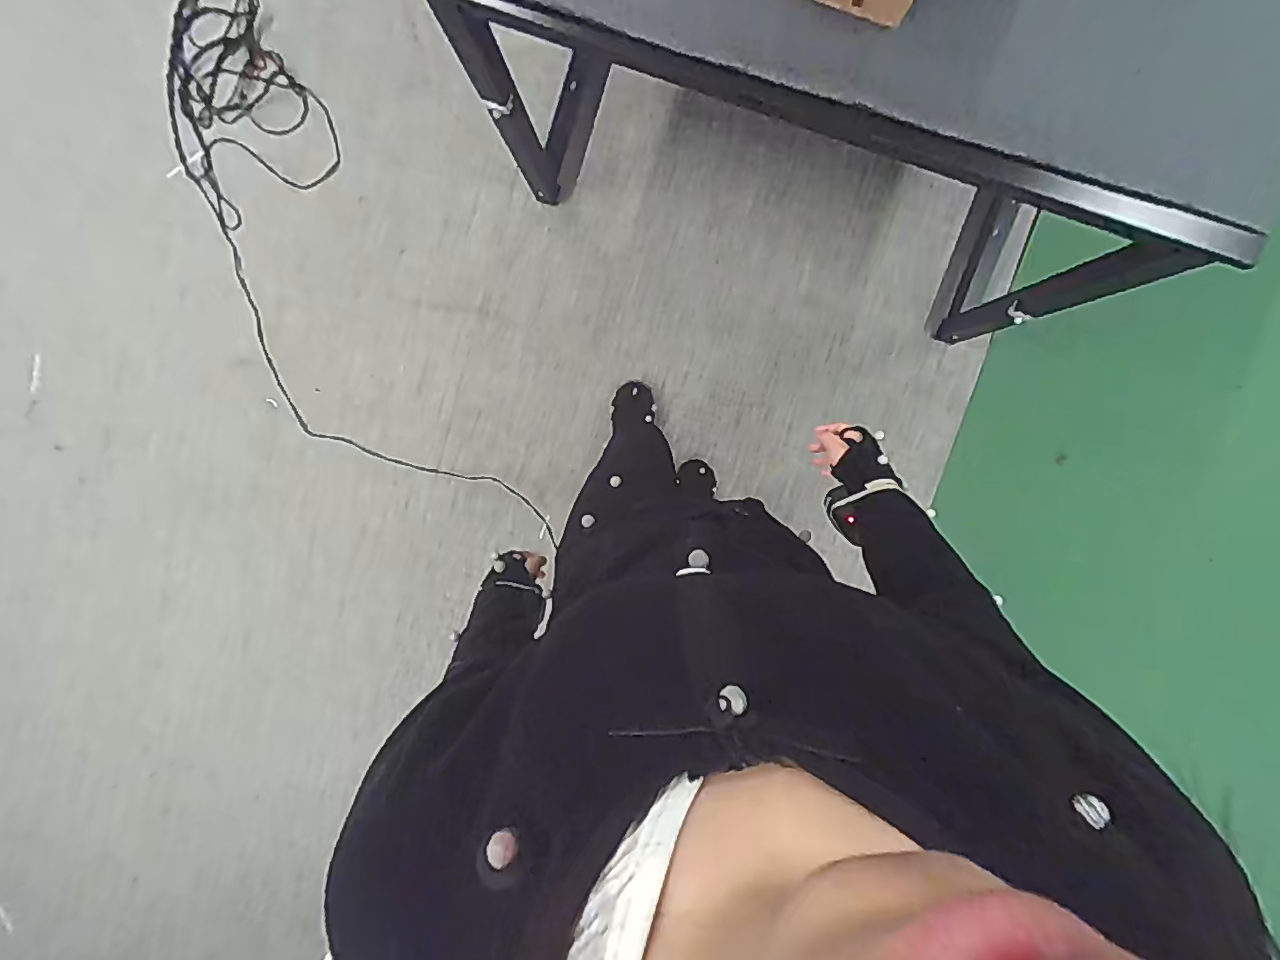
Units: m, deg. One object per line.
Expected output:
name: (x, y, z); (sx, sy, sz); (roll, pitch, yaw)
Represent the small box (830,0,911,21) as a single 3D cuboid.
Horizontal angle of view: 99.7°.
small box: (0.280, -0.683, 0.602); (0.168, 0.176, 0.179); (20, 94, 1)
